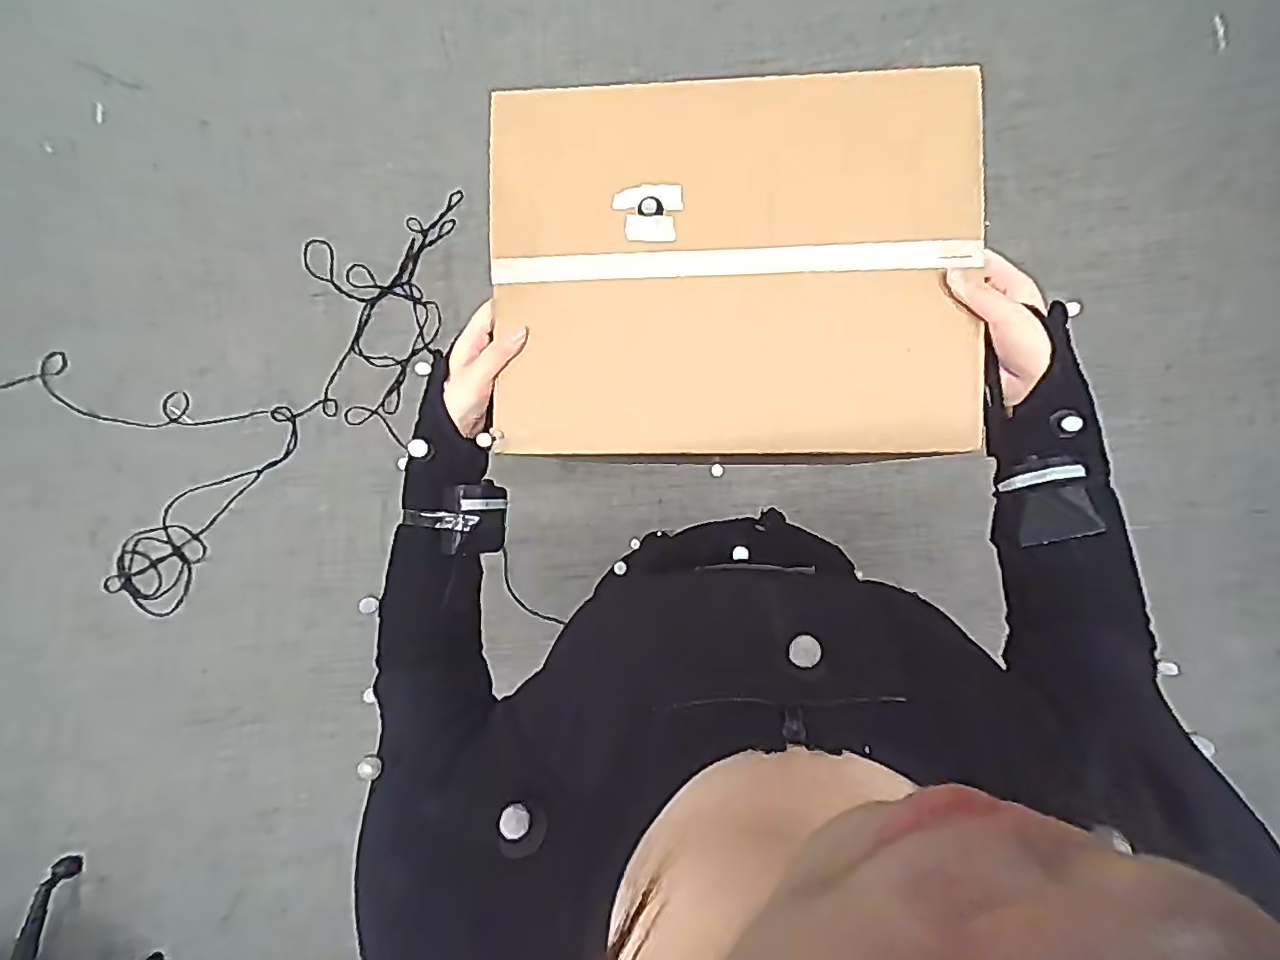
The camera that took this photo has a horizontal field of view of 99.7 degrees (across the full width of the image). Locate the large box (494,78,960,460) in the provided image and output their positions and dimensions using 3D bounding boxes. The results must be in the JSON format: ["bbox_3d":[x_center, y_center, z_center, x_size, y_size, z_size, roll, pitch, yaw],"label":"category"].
[{"bbox_3d":[0.085,-0.180,0.616,0.408,0.320,0.320,0,90,6],"label":"large box"}]
